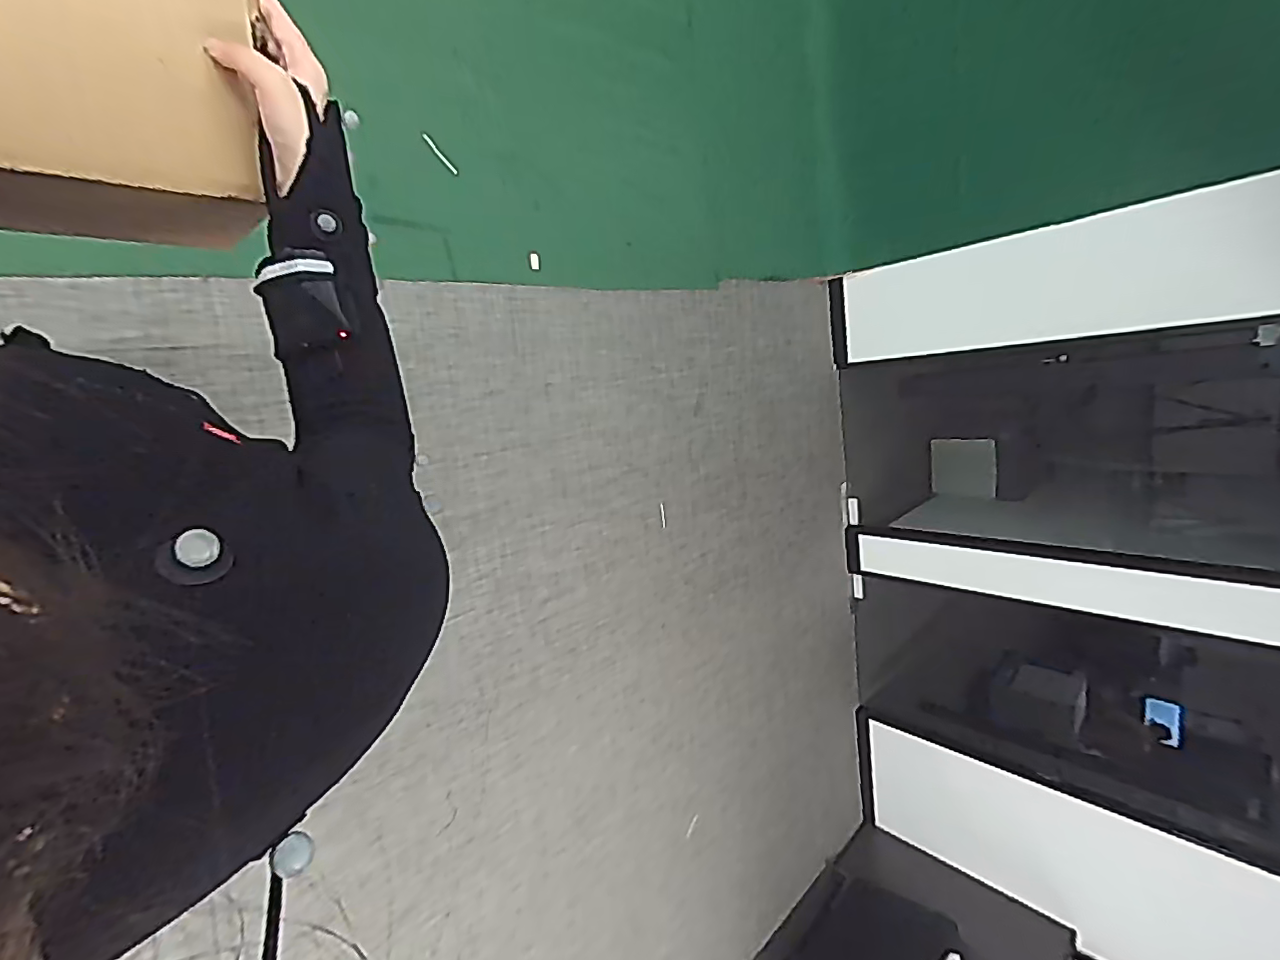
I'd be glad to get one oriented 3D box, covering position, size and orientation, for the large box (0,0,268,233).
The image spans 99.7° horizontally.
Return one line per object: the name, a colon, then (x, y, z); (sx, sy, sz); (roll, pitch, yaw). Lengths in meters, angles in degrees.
large box: (-0.542, -0.367, 0.374); (0.408, 0.320, 0.320); (-13, 110, -39)
